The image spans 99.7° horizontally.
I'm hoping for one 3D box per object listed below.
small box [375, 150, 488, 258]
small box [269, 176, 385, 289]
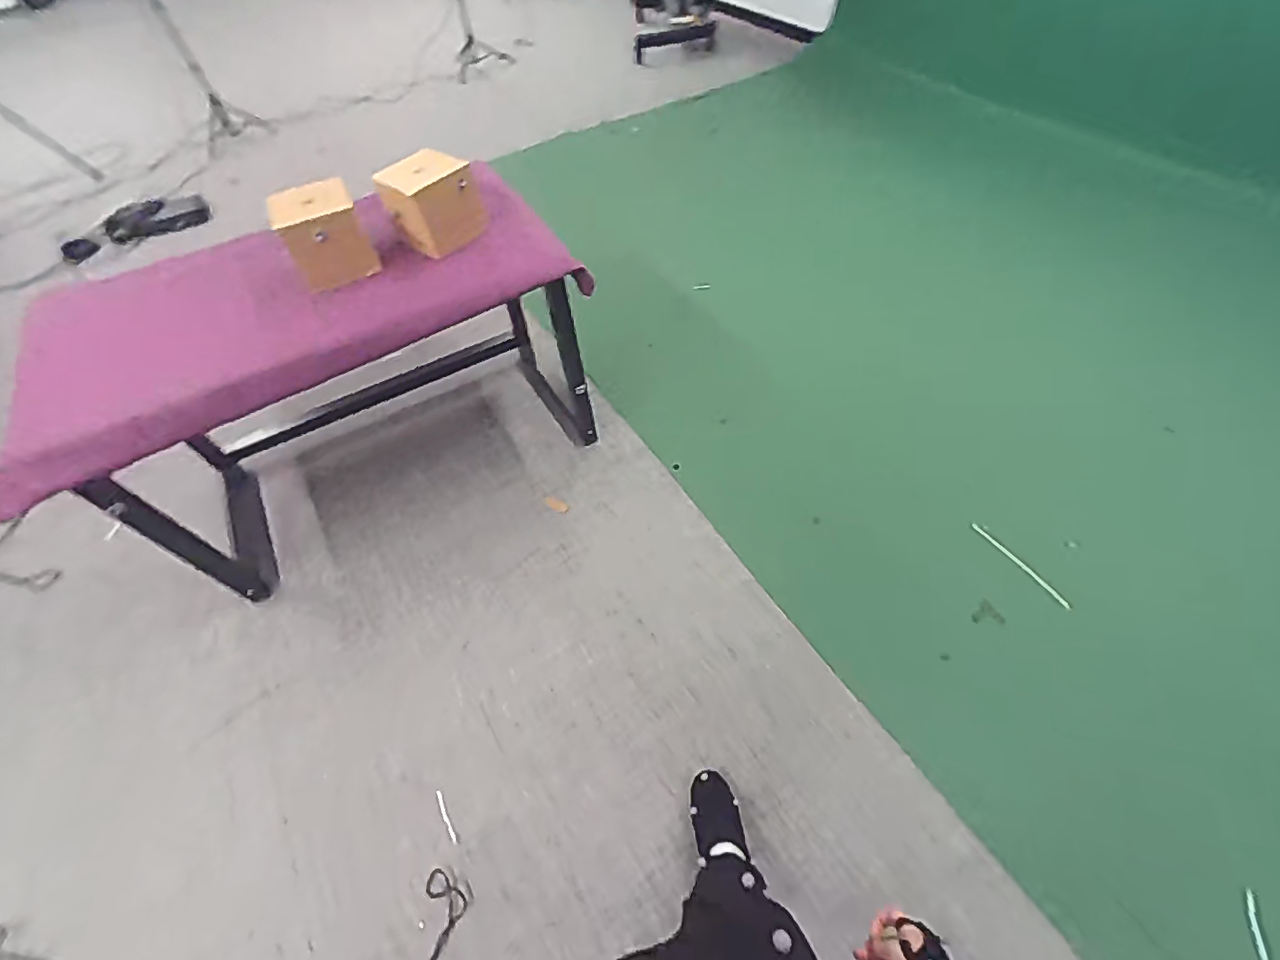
[{"bbox_3d":[-0.510,-0.685,1.349,0.168,0.176,0.179,33,62,24],"label":"small box"},{"bbox_3d":[-0.742,-0.585,1.288,0.179,0.176,0.168,-23,57,-14],"label":"small box"}]
